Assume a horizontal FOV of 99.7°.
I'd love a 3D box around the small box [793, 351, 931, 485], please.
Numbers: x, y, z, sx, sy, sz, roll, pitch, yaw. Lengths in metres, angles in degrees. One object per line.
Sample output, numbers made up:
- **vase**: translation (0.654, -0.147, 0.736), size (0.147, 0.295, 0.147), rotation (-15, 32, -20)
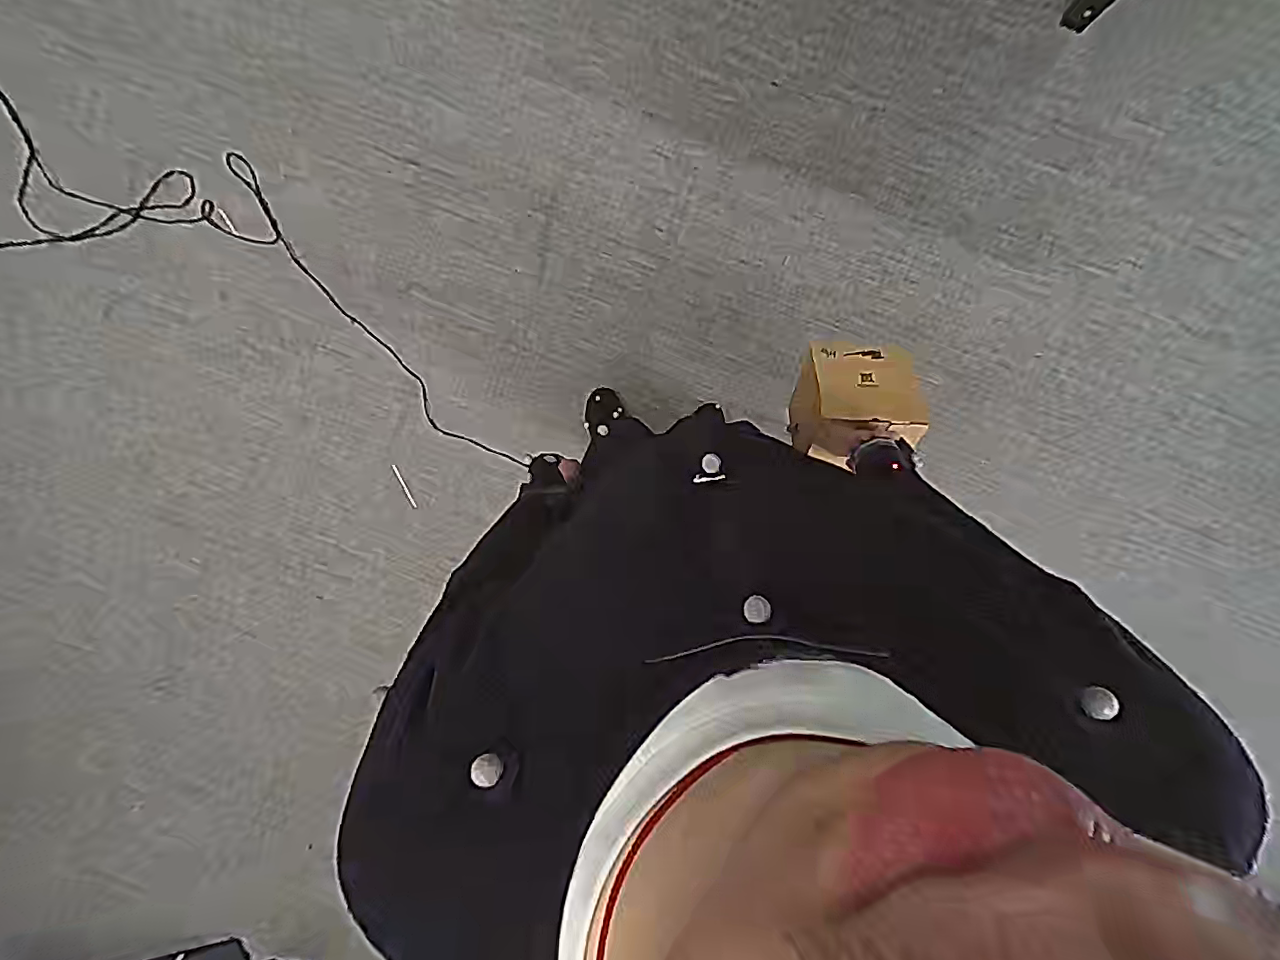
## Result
- **small box**: translation (0.374, -0.103, 0.946), size (0.168, 0.176, 0.179), rotation (0, 55, 2)
